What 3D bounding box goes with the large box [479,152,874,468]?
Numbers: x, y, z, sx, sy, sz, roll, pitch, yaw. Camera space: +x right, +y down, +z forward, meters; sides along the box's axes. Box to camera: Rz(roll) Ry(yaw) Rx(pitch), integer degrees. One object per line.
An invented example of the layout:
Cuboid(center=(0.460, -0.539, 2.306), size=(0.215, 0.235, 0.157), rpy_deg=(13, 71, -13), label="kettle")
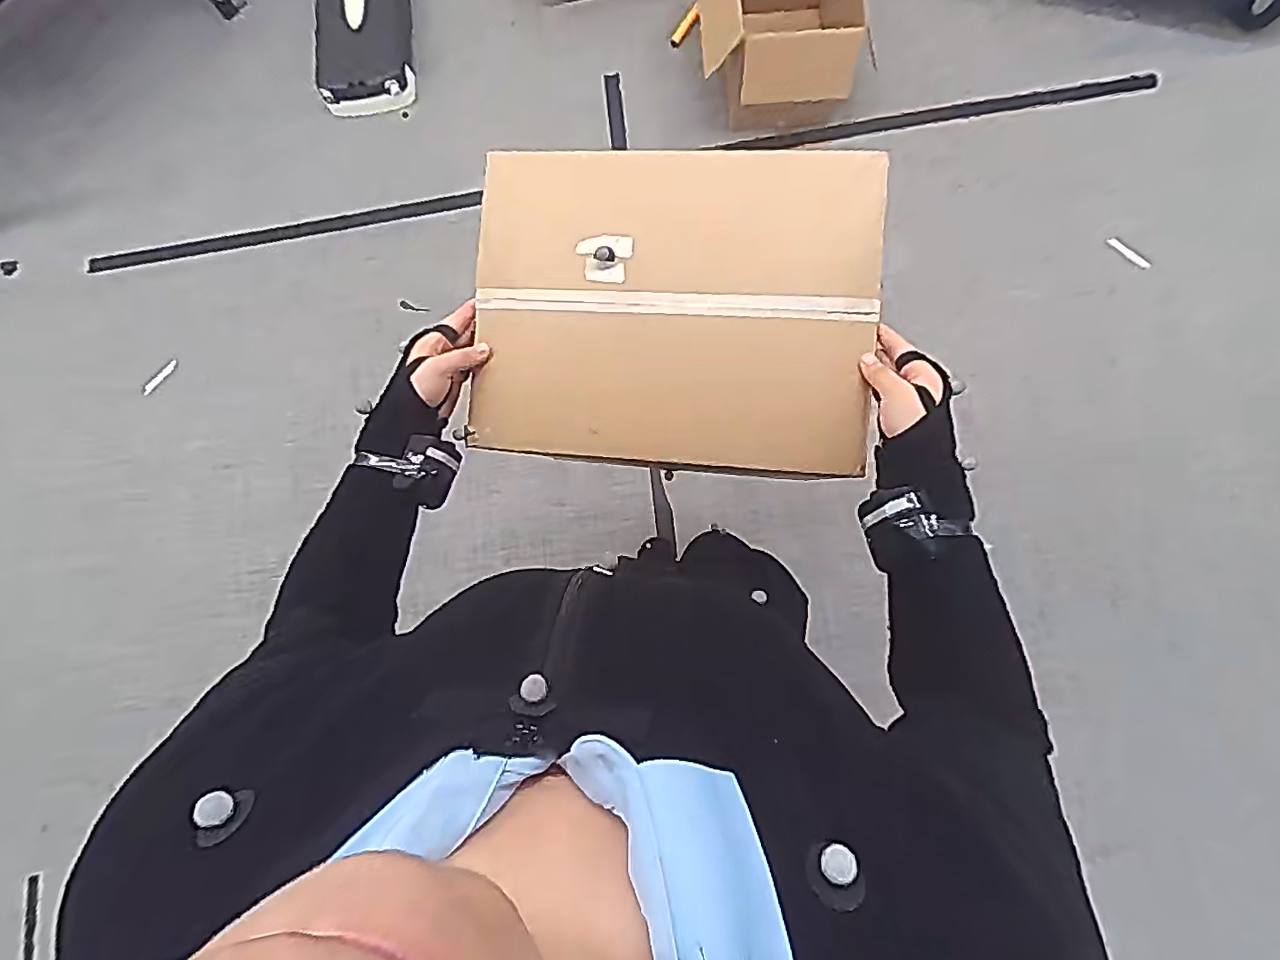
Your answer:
Cuboid(center=(0.051, -0.178, 0.705), size=(0.408, 0.320, 0.320), rpy_deg=(4, 89, 8), label="large box")
